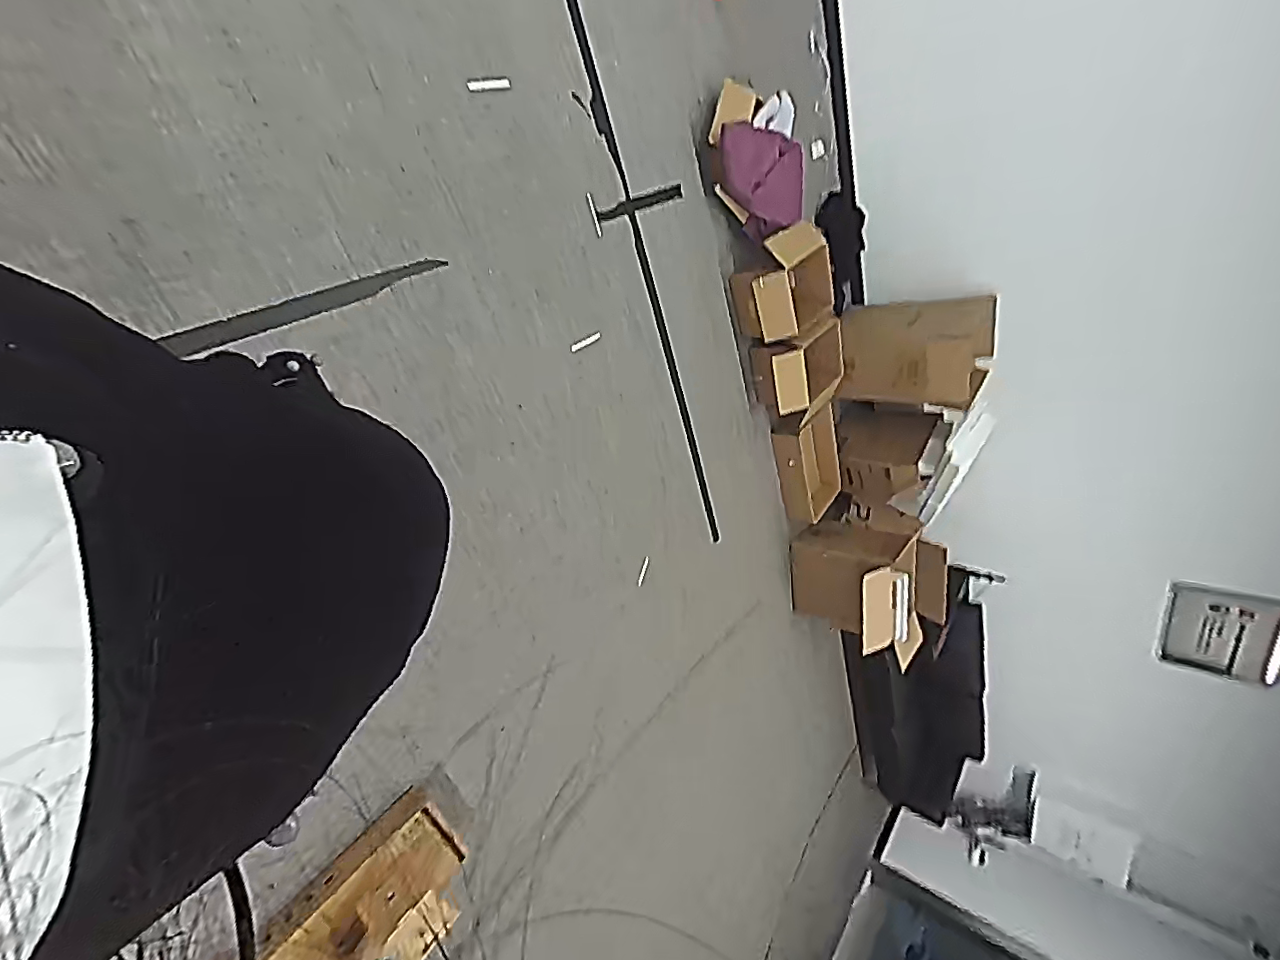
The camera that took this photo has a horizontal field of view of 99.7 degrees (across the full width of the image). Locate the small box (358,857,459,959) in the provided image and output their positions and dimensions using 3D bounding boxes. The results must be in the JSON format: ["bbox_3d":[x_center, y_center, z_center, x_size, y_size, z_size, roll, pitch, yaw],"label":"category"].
[{"bbox_3d":[-0.650,1.206,1.514,0.168,0.176,0.179,-42,125,-34],"label":"small box"}]

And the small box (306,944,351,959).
[{"bbox_3d":[-0.802,1.342,1.373,0.168,0.176,0.179,-41,125,-36],"label":"small box"}]
